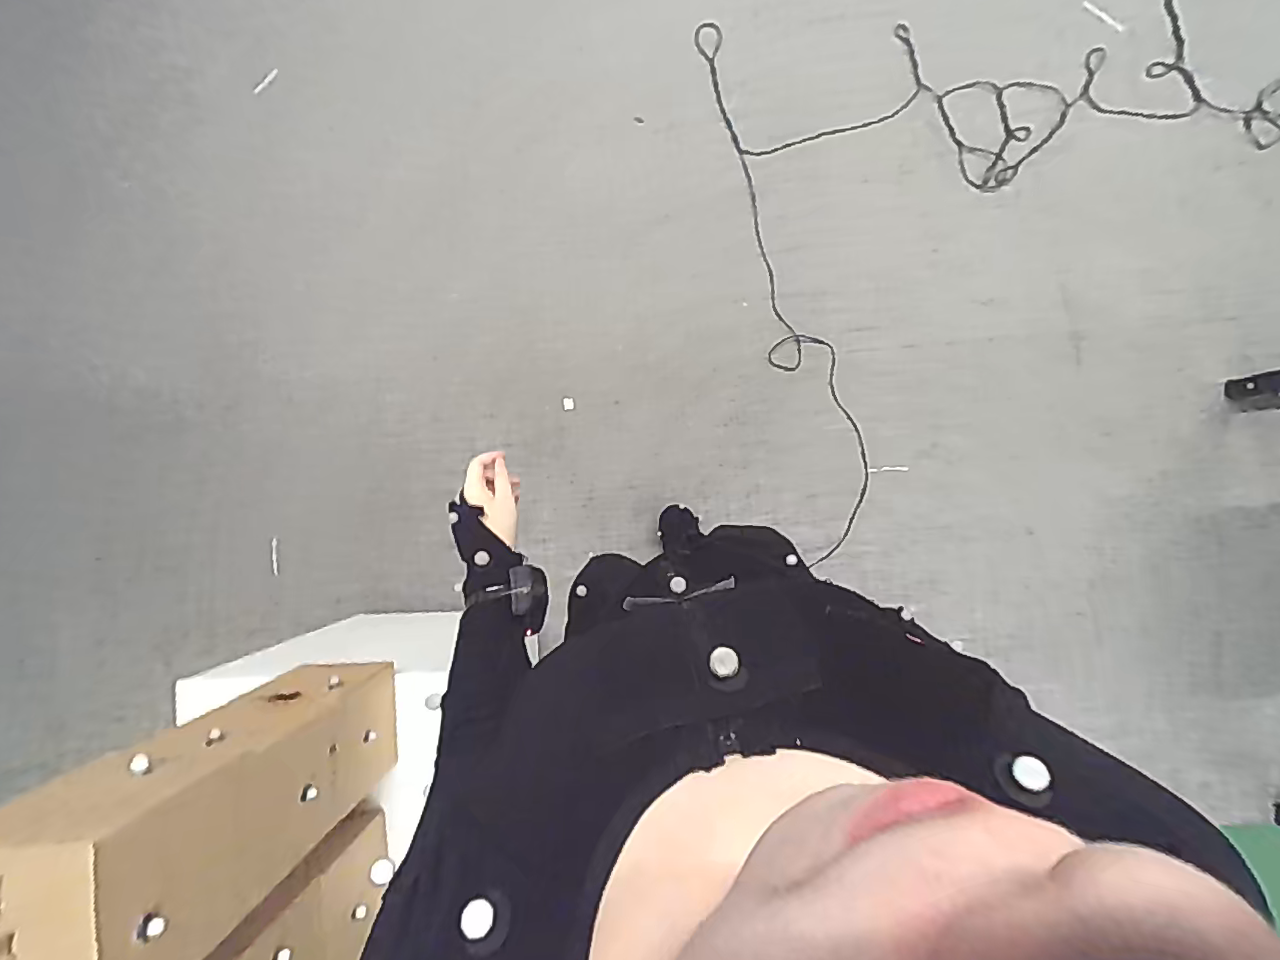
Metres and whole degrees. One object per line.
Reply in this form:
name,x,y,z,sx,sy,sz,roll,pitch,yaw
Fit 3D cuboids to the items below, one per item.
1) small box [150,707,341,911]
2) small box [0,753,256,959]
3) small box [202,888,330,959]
small box,-0.502,0.401,0.683,0.179,0.176,0.168,-3,88,3
small box,-0.506,0.390,0.518,0.168,0.176,0.179,-4,88,2
small box,-0.517,0.650,0.676,0.168,0.176,0.179,-9,87,4
